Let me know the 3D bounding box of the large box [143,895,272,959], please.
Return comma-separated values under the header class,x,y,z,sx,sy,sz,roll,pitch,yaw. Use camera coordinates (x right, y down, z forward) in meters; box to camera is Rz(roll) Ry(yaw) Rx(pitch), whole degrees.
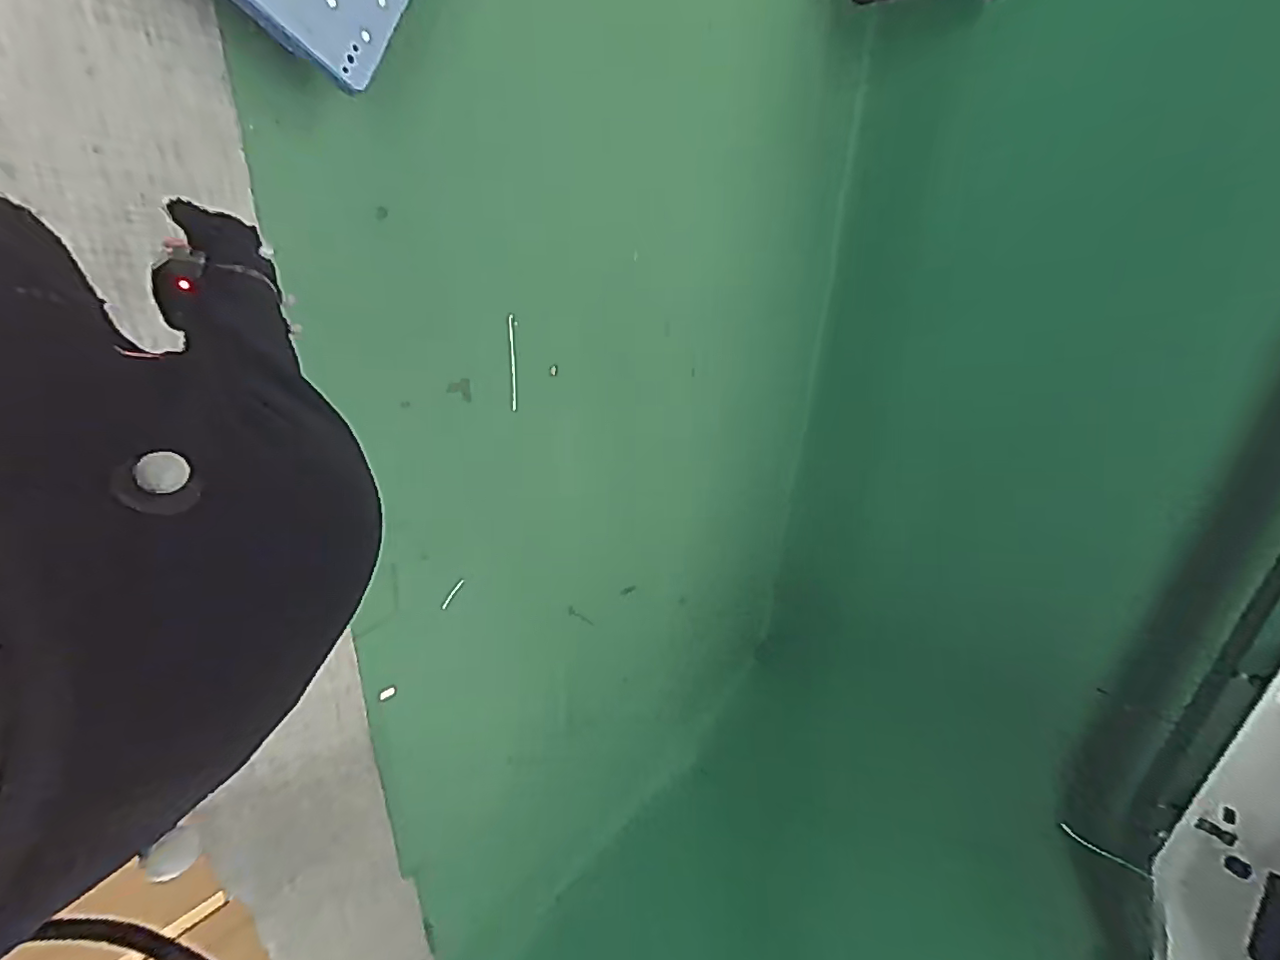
class,x,y,z,sx,sy,sz,roll,pitch,yaw
large box,-0.962,1.198,1.102,0.408,0.320,0.320,-23,128,-45
